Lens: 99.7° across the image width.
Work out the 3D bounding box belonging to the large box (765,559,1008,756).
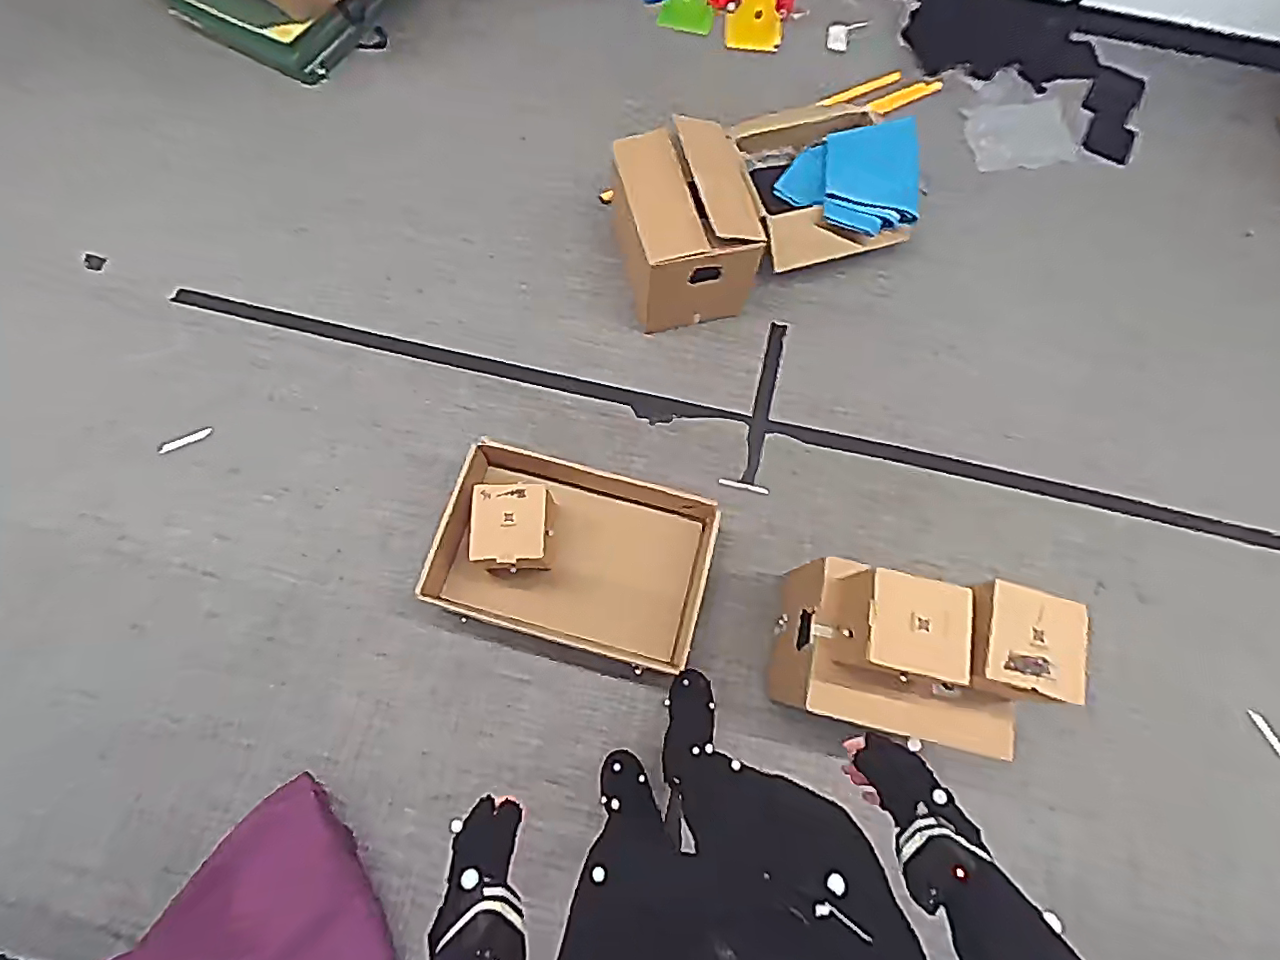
[{"bbox_3d":[0.533,0.393,1.226,0.408,0.320,0.320,14,73,1],"label":"large box"}]

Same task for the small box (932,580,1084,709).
[{"bbox_3d":[0.672,0.305,1.004,0.168,0.176,0.179,17,71,3],"label":"small box"}]
